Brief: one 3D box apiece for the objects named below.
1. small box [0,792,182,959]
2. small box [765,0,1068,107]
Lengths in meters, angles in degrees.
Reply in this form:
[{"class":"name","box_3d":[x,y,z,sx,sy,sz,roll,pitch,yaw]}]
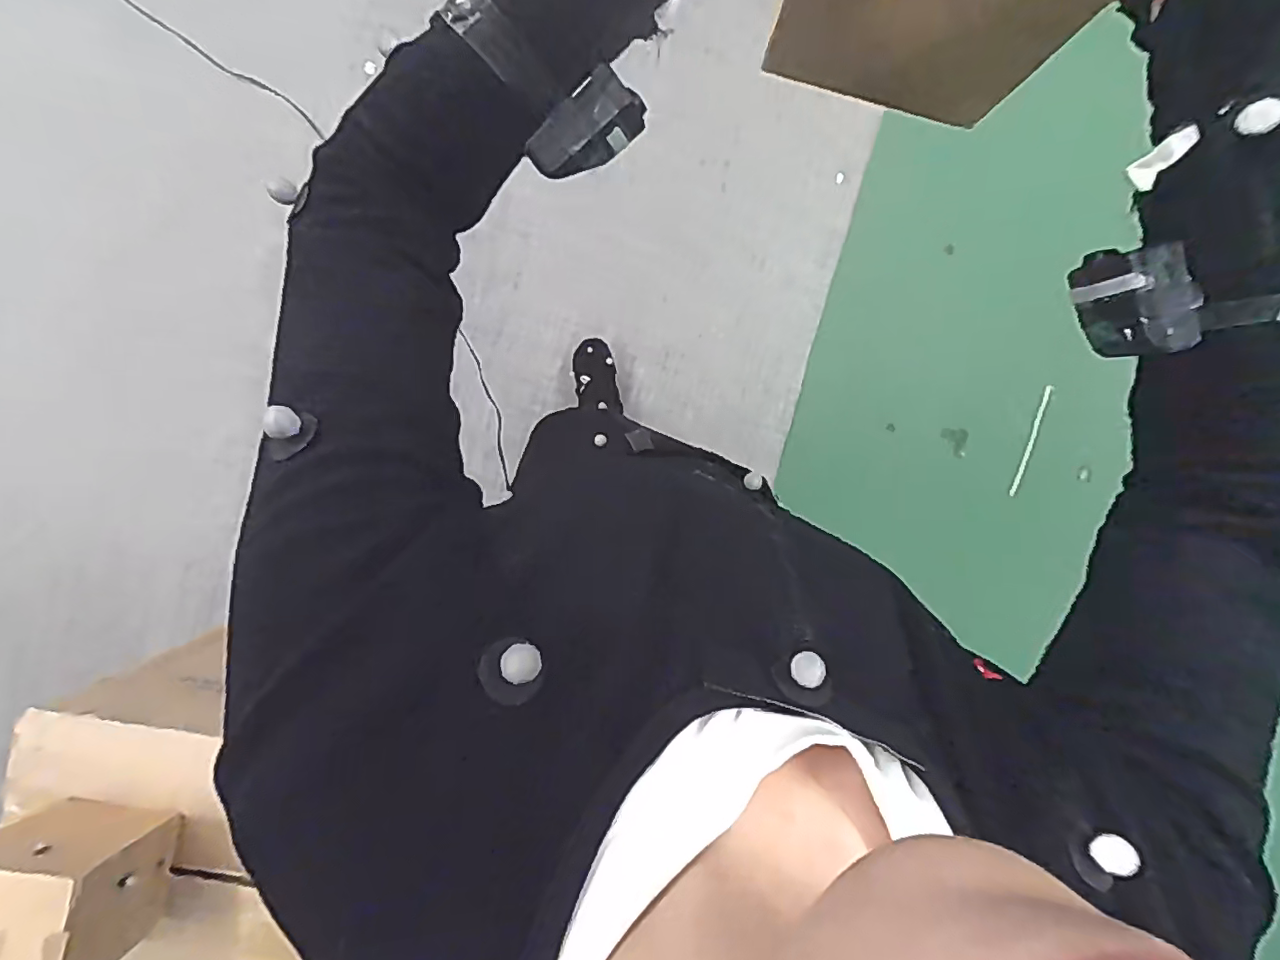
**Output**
[{"class":"small box","box_3d":[-0.777,0.548,0.728,0.179,0.176,0.168,8,83,-2]},{"class":"small box","box_3d":[0.194,-0.377,0.336,0.179,0.176,0.168,14,94,-3]}]
